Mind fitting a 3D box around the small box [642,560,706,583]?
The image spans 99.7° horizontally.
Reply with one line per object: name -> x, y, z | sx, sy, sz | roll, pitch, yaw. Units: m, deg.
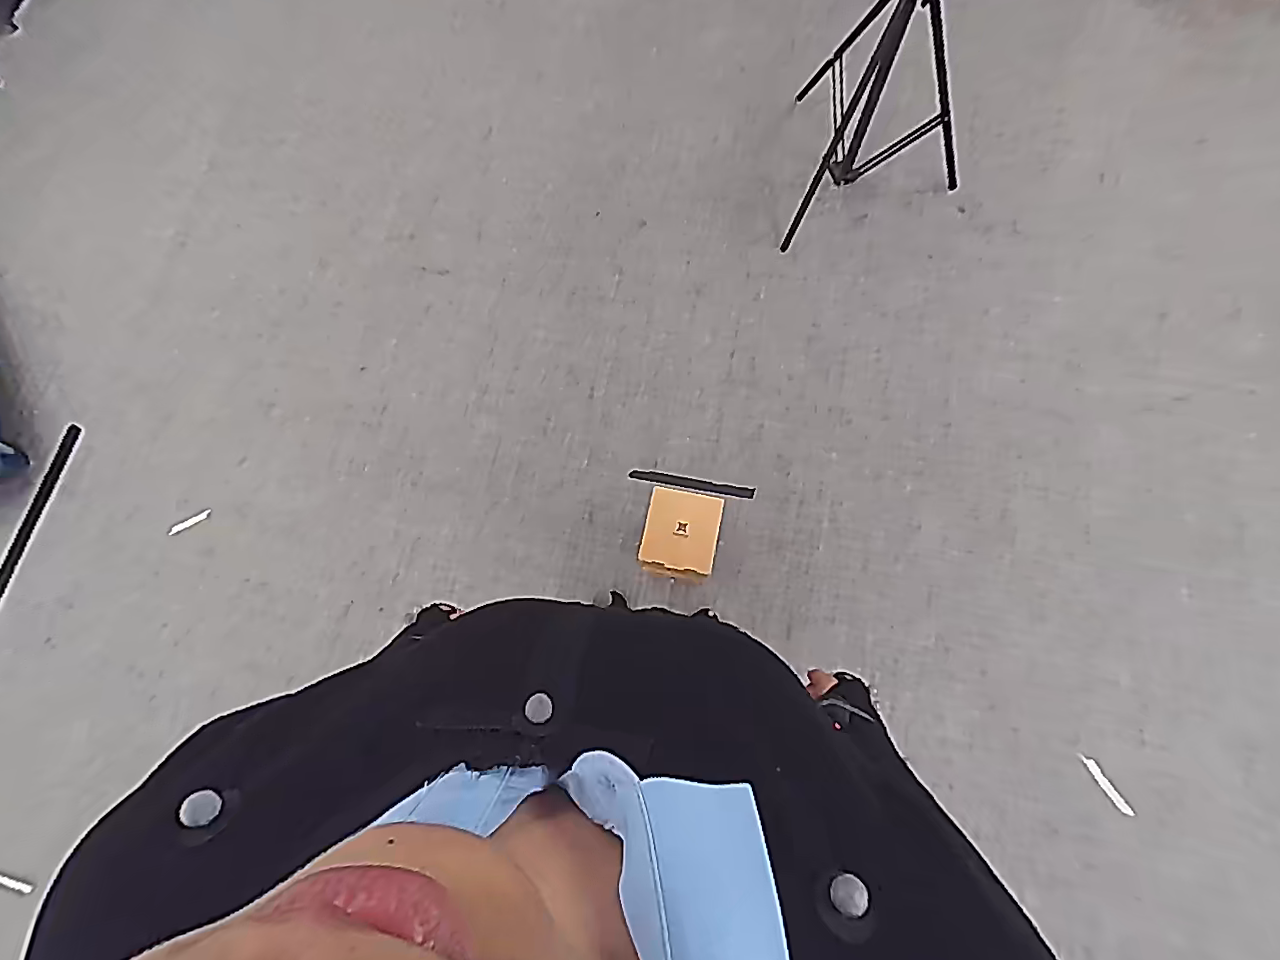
small box -> 0.105, 0.173, 1.441 | 0.168, 0.176, 0.179 | 9, 77, 6

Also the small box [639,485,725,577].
small box -> 0.099, 0.127, 1.285 | 0.168, 0.176, 0.179 | 11, 78, 7
